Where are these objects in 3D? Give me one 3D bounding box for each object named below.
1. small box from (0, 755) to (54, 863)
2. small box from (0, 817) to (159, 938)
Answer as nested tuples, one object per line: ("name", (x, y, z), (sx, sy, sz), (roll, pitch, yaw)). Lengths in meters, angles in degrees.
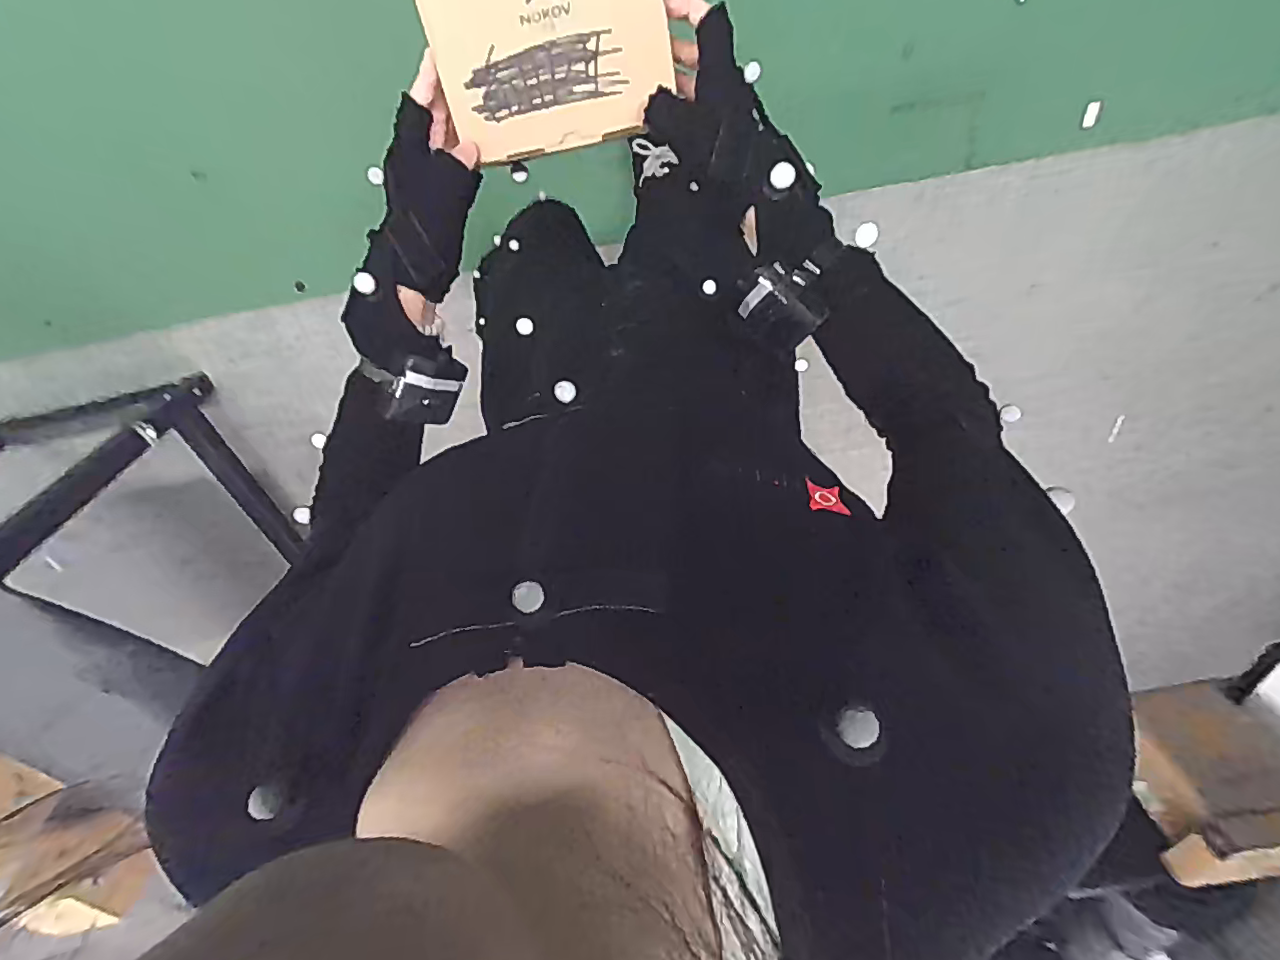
("small box", (-1.315, 0.654, 1.031), (0.179, 0.176, 0.168), (-12, 128, 0))
("small box", (-1.250, 0.876, 1.204), (0.168, 0.176, 0.179), (-11, 128, -1))
